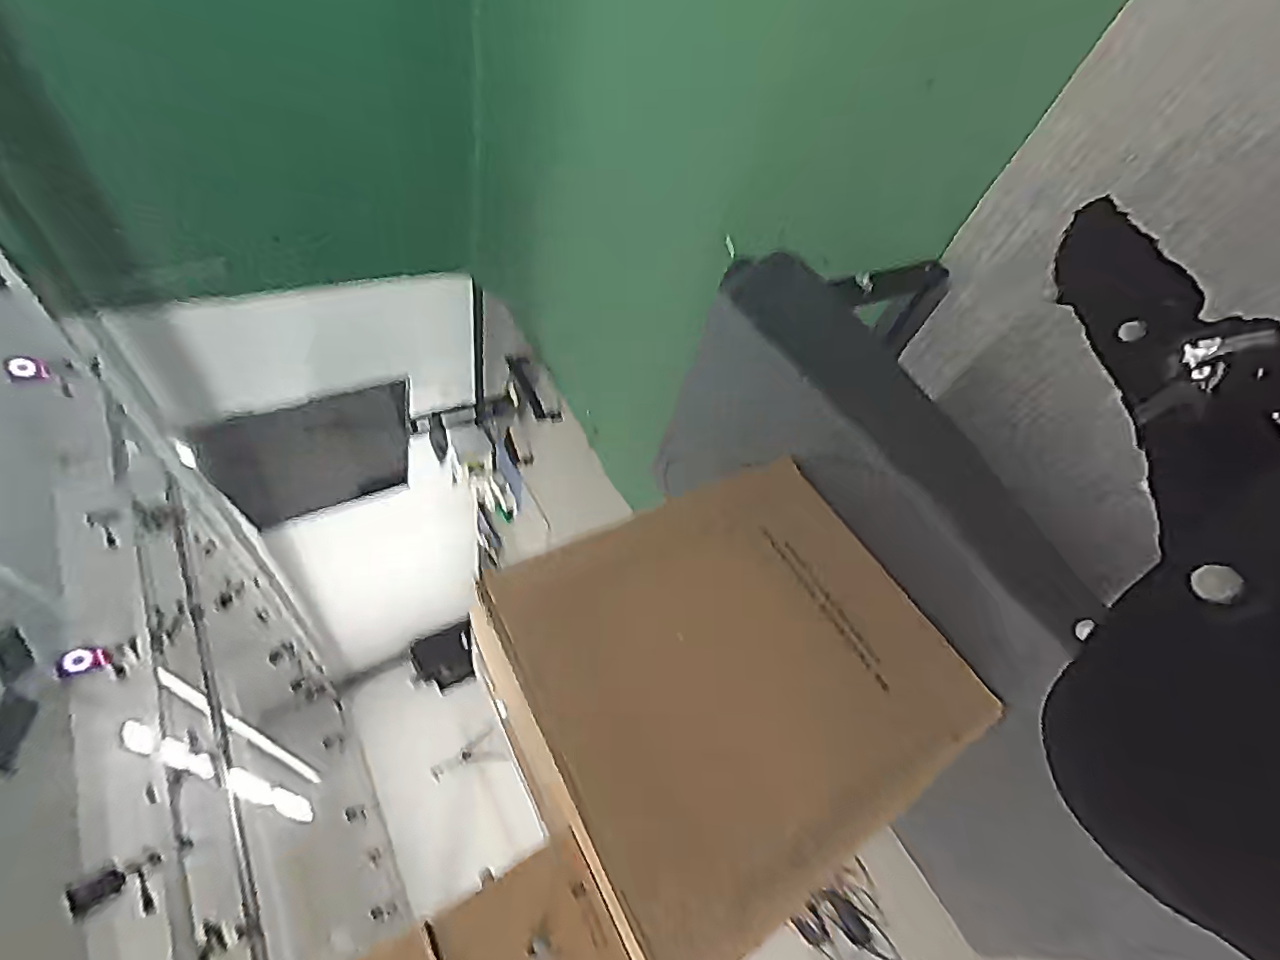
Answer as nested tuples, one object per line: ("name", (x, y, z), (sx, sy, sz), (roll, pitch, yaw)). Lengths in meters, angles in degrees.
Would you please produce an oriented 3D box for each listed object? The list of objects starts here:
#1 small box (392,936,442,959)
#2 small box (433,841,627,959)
("small box", (-0.251, 0.585, 0.524), (0.168, 0.176, 0.179), (55, 147, 28))
("small box", (-0.118, 0.545, 0.610), (0.168, 0.176, 0.179), (53, 144, 28))
